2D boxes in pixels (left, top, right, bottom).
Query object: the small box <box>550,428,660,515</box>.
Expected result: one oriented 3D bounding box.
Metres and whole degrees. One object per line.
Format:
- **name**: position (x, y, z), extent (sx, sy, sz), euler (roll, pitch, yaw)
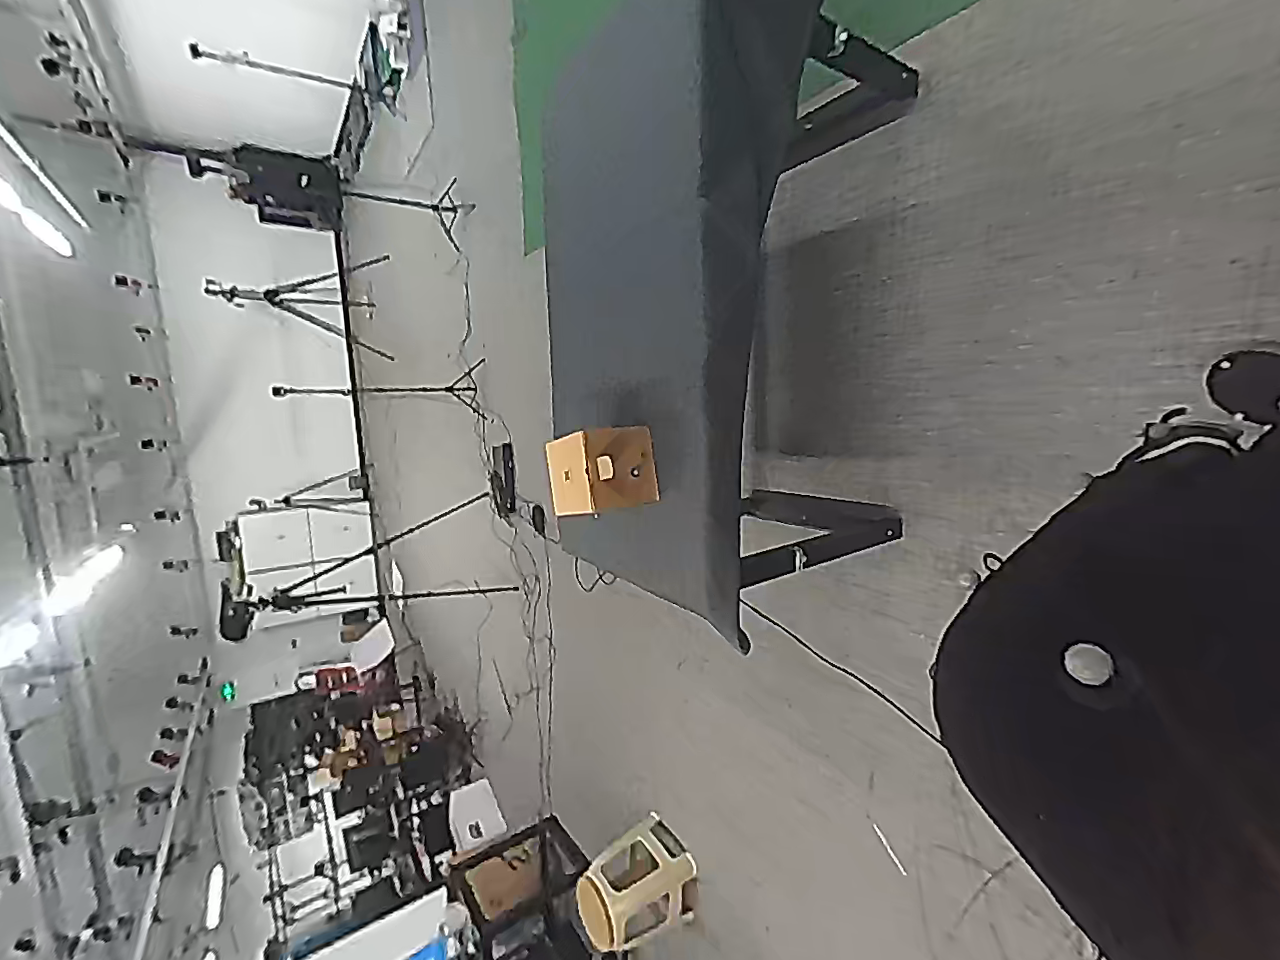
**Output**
- **small box**: position (-0.077, -0.016, 1.176), extent (0.179, 0.176, 0.168), euler (-11, 86, 55)
